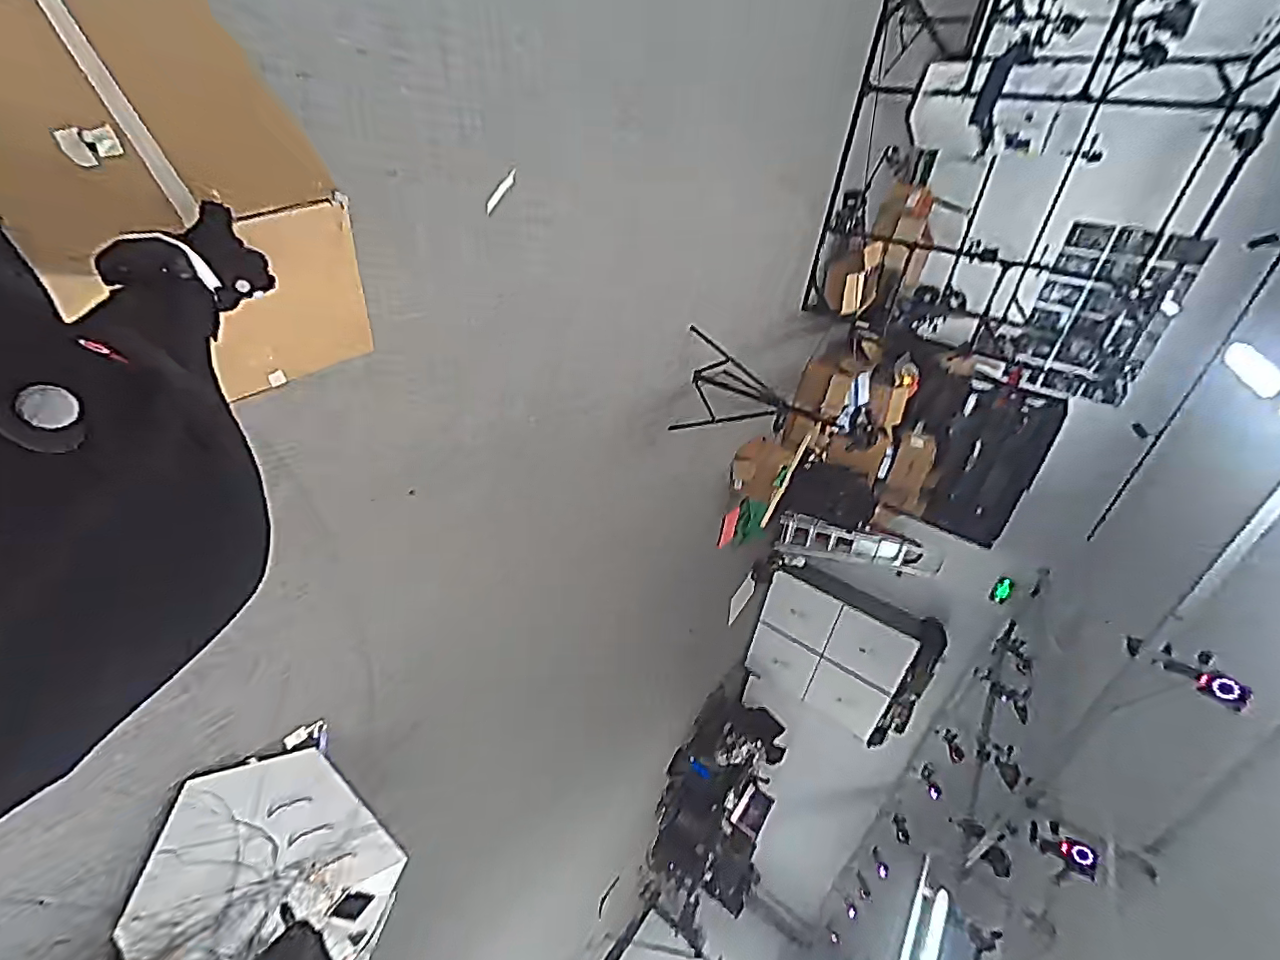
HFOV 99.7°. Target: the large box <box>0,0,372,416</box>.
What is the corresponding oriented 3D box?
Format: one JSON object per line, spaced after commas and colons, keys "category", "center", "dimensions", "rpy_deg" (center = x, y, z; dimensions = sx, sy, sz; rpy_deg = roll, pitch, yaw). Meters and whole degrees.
{"category": "large box", "center": [-0.635, -0.370, 0.743], "dimensions": [0.320, 0.408, 0.320], "rpy_deg": [-34, 174, -26]}
